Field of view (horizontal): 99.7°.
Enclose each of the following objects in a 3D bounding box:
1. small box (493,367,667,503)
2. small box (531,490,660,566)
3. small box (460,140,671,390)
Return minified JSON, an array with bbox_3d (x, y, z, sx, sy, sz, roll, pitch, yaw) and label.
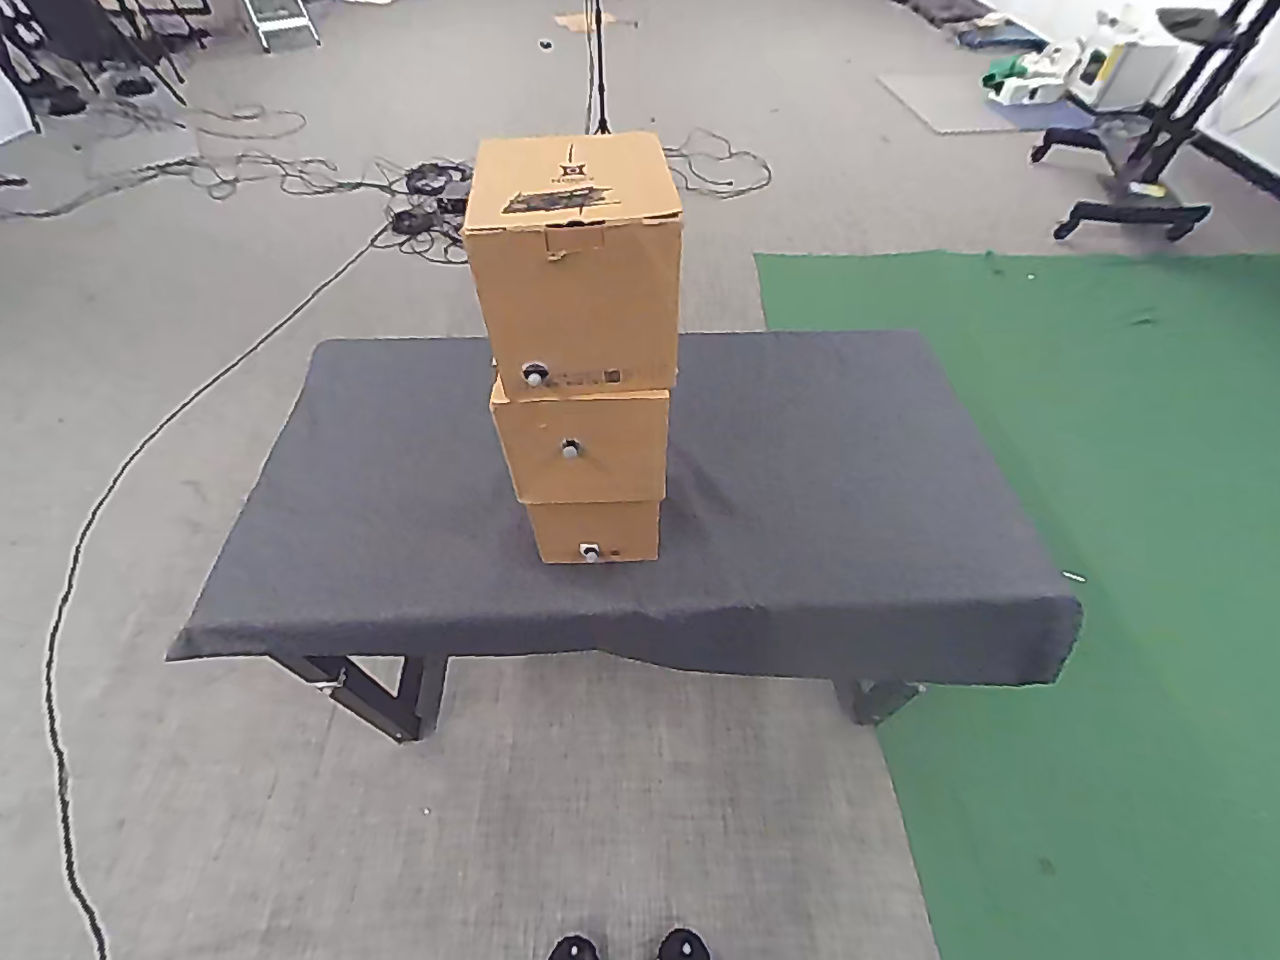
[{"bbox_3d":[-0.062,-0.086,0.645,0.179,0.176,0.168,-3,49,-3],"label":"small box"},{"bbox_3d":[-0.062,0.005,0.778,0.168,0.176,0.179,-4,52,-1],"label":"small box"},{"bbox_3d":[-0.061,-0.200,0.522,0.168,0.176,0.179,-5,50,-3],"label":"small box"}]
